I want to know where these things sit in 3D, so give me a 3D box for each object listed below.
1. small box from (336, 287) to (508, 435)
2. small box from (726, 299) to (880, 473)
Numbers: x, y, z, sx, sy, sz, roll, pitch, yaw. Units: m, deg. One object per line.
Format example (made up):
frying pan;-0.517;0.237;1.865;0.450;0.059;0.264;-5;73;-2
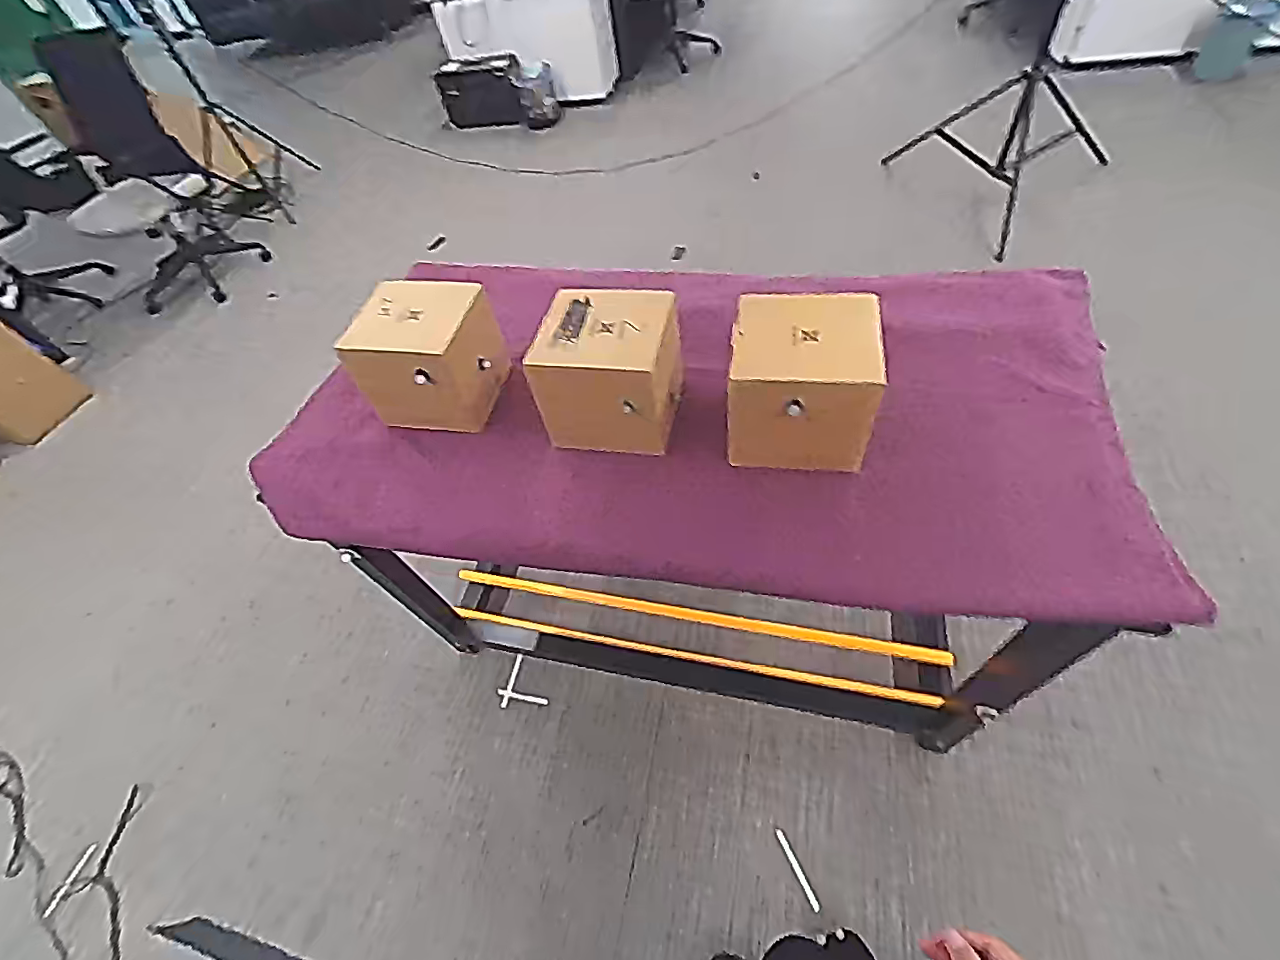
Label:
small box;-0.335;-0.189;0.875;0.179;0.176;0.168;5;54;11
small box;0.214;-0.124;0.736;0.179;0.176;0.168;4;54;13
